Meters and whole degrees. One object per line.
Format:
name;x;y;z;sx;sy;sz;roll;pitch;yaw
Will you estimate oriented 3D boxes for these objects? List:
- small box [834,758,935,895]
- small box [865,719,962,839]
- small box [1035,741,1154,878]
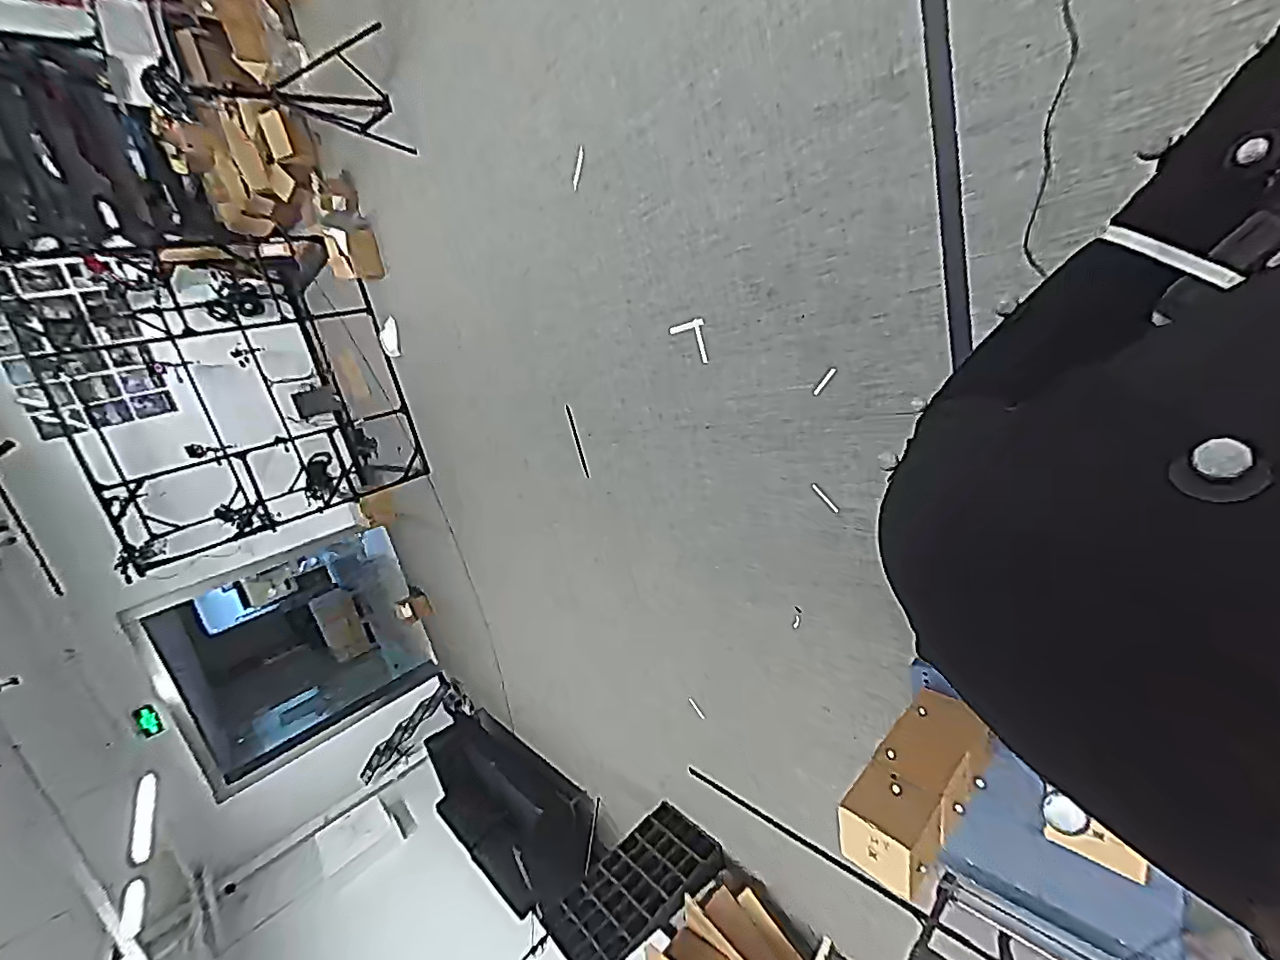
small box;0.582;0.813;1.286;0.168;0.176;0.179;14;121;47
small box;0.702;0.752;1.382;0.179;0.176;0.168;12;120;48
small box;1.036;0.736;1.235;0.179;0.176;0.168;10;118;47
